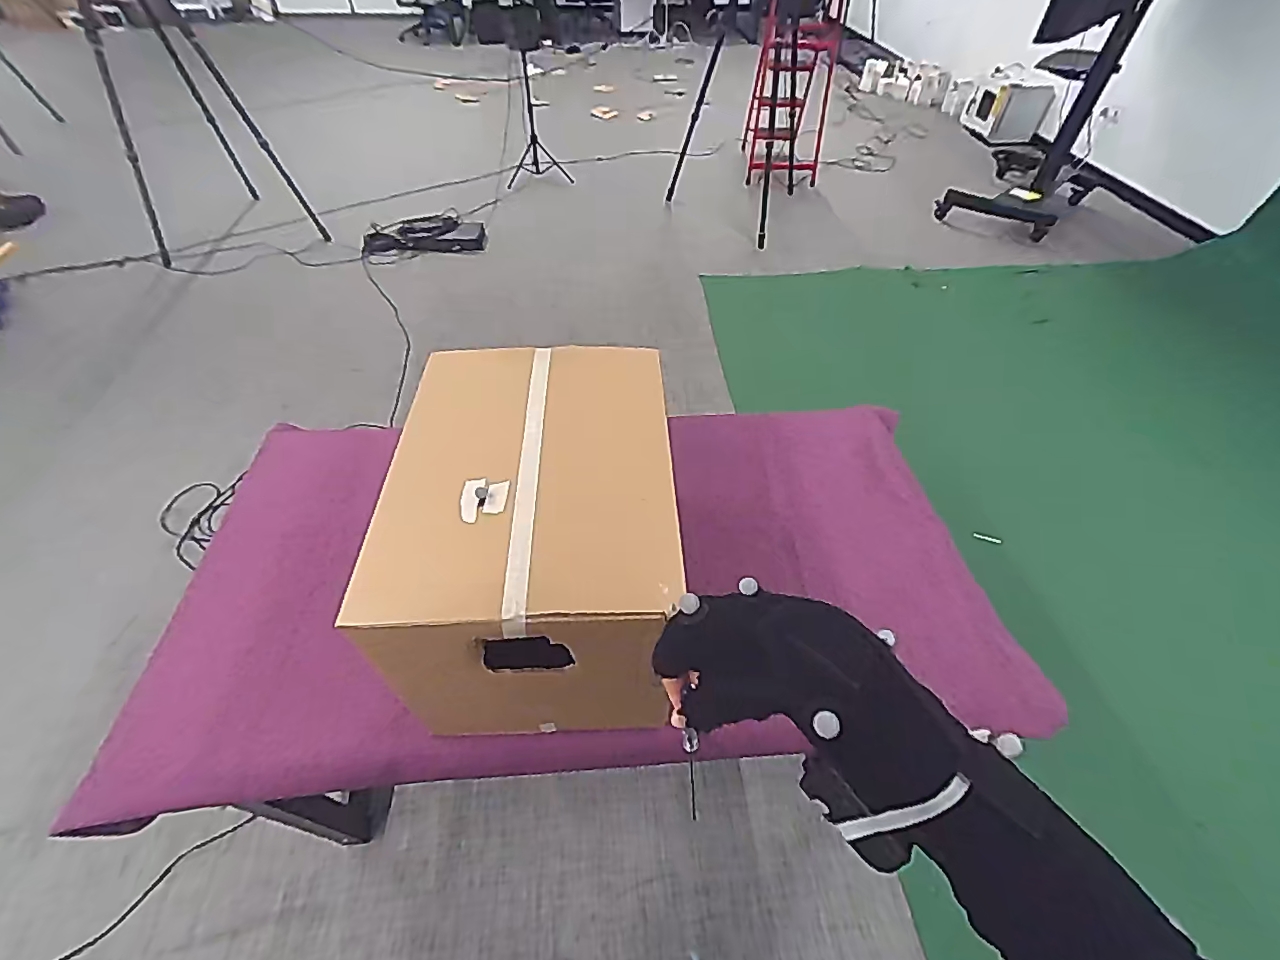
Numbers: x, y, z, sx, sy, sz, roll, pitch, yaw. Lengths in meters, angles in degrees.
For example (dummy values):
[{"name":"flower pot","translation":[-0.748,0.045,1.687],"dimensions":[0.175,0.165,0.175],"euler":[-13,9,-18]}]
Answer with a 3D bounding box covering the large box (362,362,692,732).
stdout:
[{"name":"large box","translation":[-0.119,0.086,0.739],"dimensions":[0.320,0.320,0.408],"euler":[-1,49,-2]}]
